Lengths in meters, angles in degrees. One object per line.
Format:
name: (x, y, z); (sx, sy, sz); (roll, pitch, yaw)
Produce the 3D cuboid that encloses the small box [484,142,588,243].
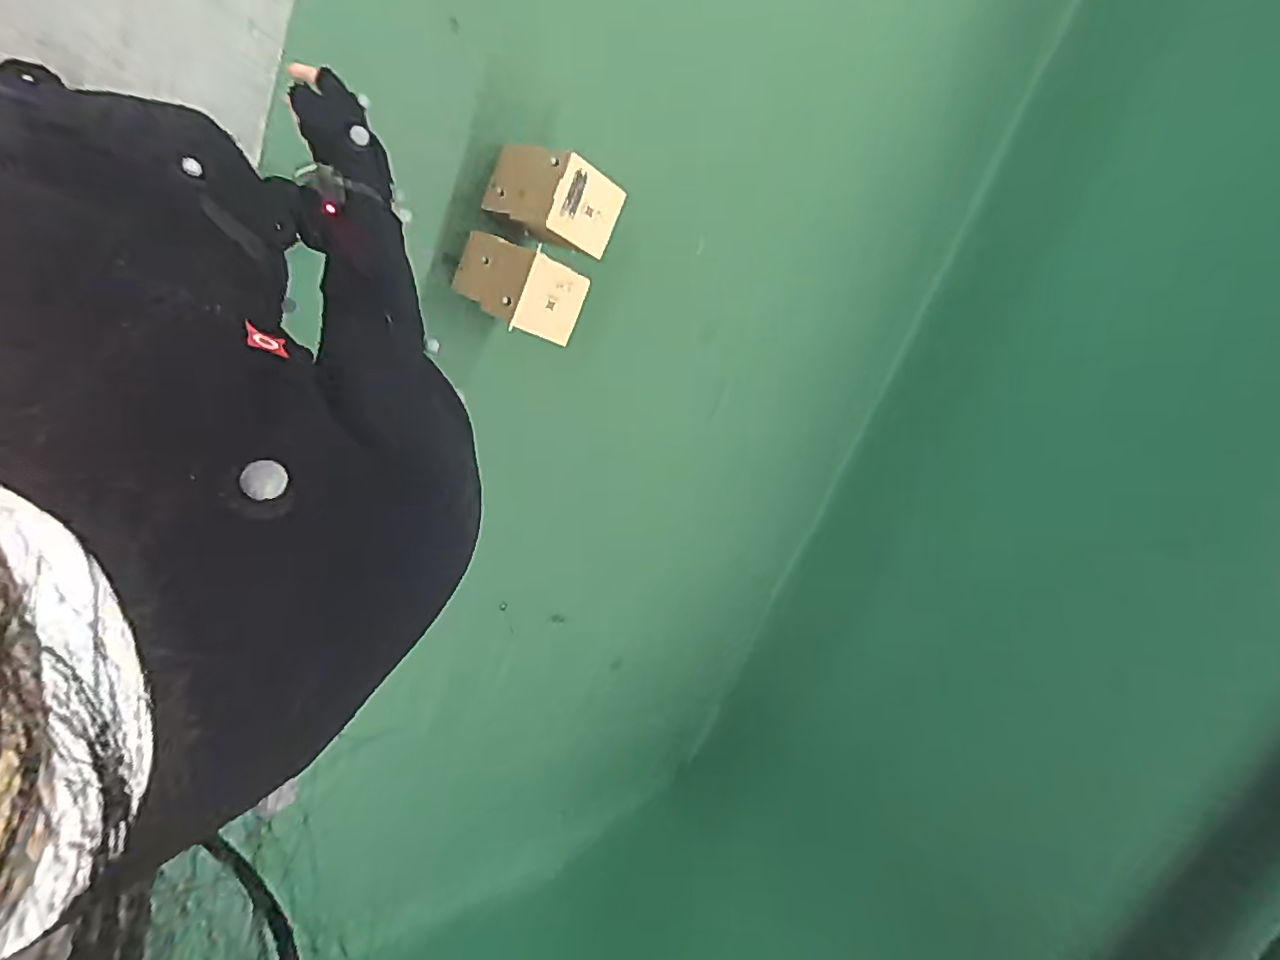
small box: (-0.273, -0.740, 1.397); (0.179, 0.176, 0.168); (16, 104, -47)
